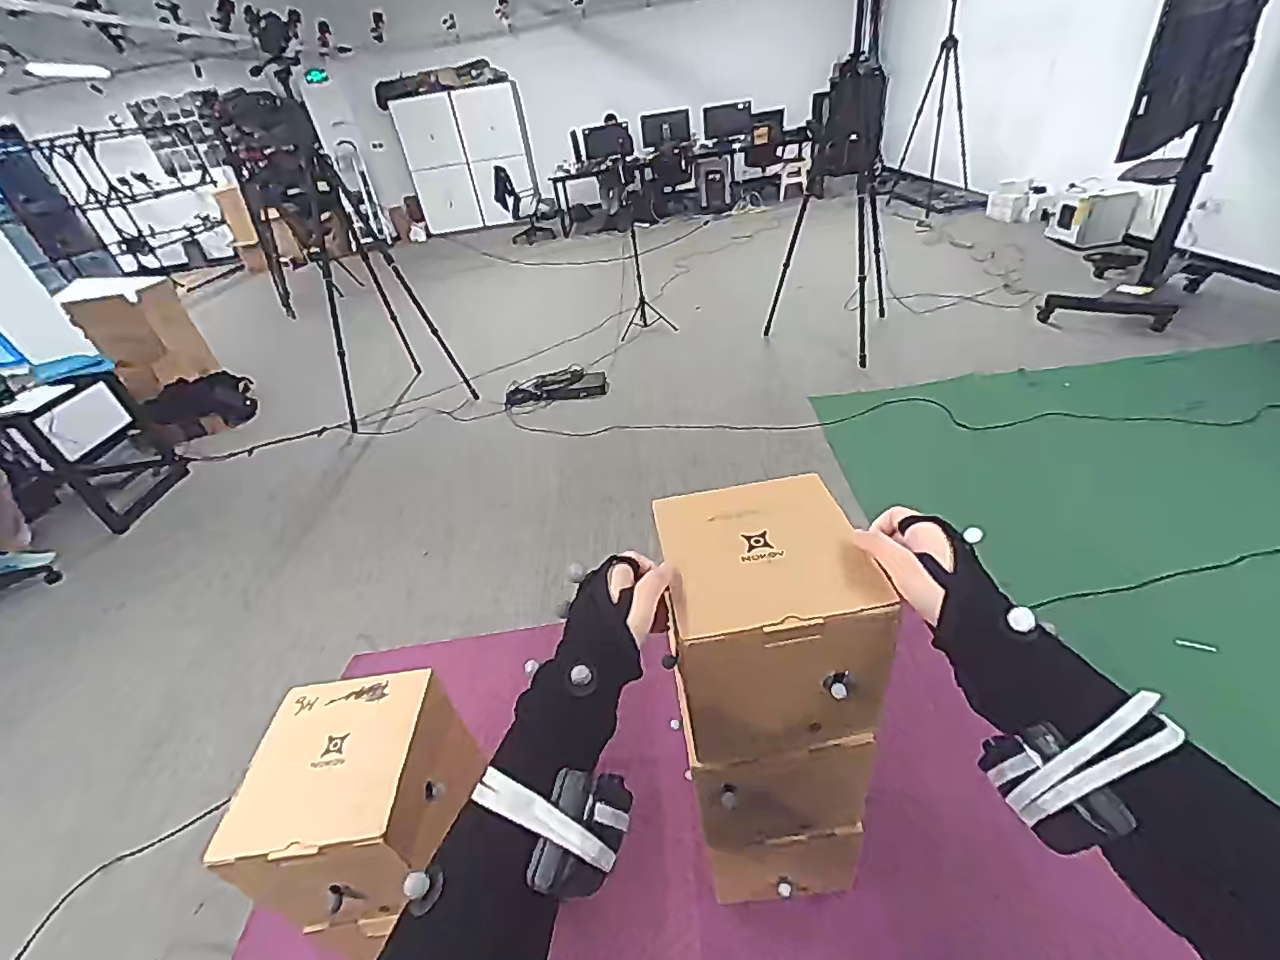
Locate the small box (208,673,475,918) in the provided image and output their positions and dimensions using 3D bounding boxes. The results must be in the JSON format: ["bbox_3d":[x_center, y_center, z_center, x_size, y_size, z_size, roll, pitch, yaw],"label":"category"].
[{"bbox_3d":[-0.292,0.341,0.582,0.168,0.176,0.179,-9,36,1],"label":"small box"}]

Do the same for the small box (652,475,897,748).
[{"bbox_3d":[0.111,0.122,0.499,0.168,0.176,0.179,-10,34,0],"label":"small box"}]

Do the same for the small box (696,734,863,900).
[{"bbox_3d":[0.162,0.390,0.682,0.168,0.176,0.179,-9,36,3],"label":"small box"}]

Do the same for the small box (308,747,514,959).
[{"bbox_3d":[-0.265,0.473,0.677,0.168,0.176,0.179,-10,35,0],"label":"small box"}]
